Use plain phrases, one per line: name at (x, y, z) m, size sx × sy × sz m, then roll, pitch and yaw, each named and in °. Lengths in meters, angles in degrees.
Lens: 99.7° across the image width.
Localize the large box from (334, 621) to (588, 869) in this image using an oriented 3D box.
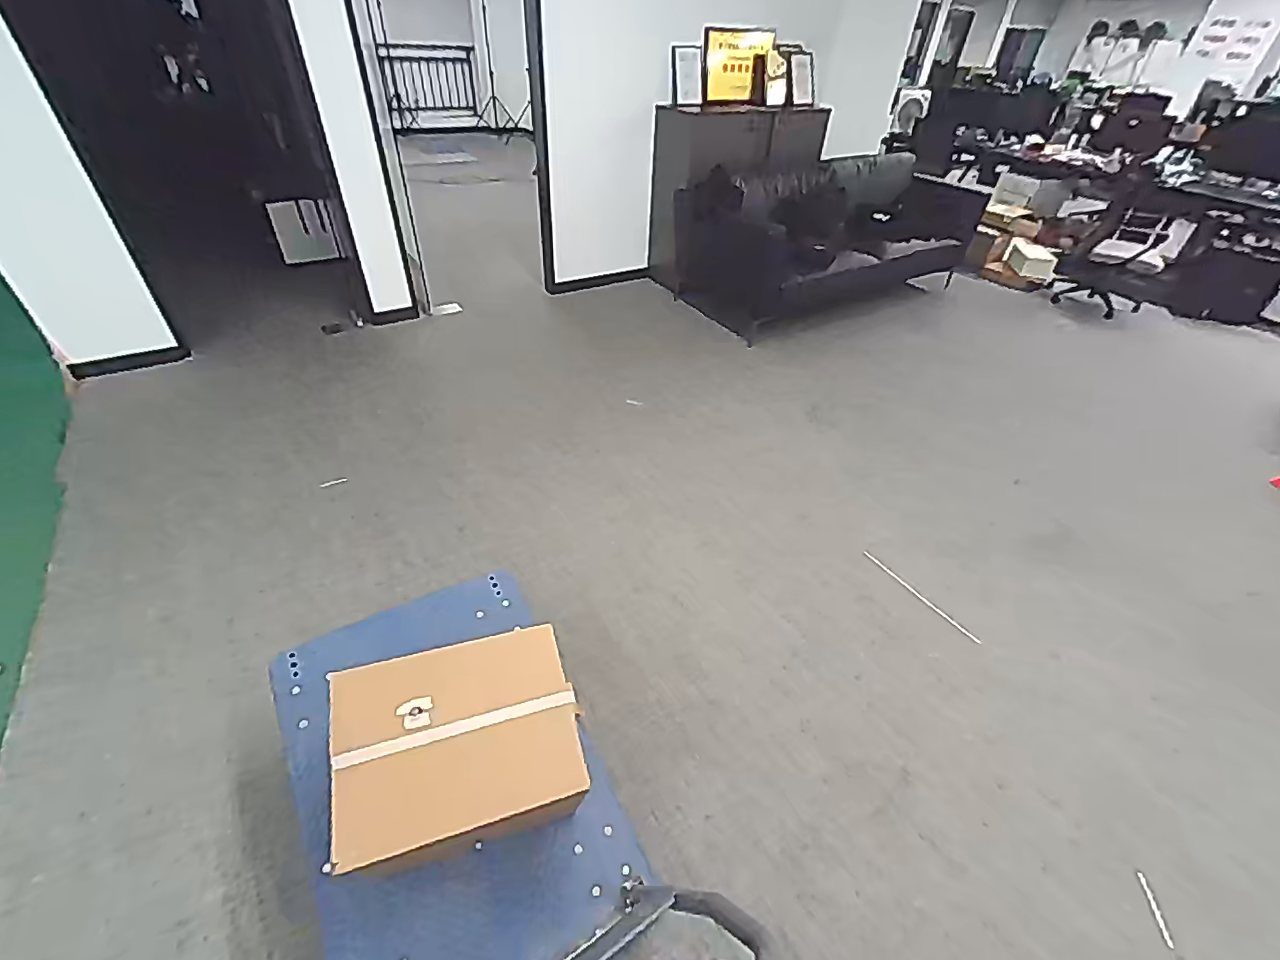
large box at (-0.344, 0.524, 1.078) m, size 0.408 × 0.320 × 0.320 m, roll -9°, pitch 56°, yaw -18°
